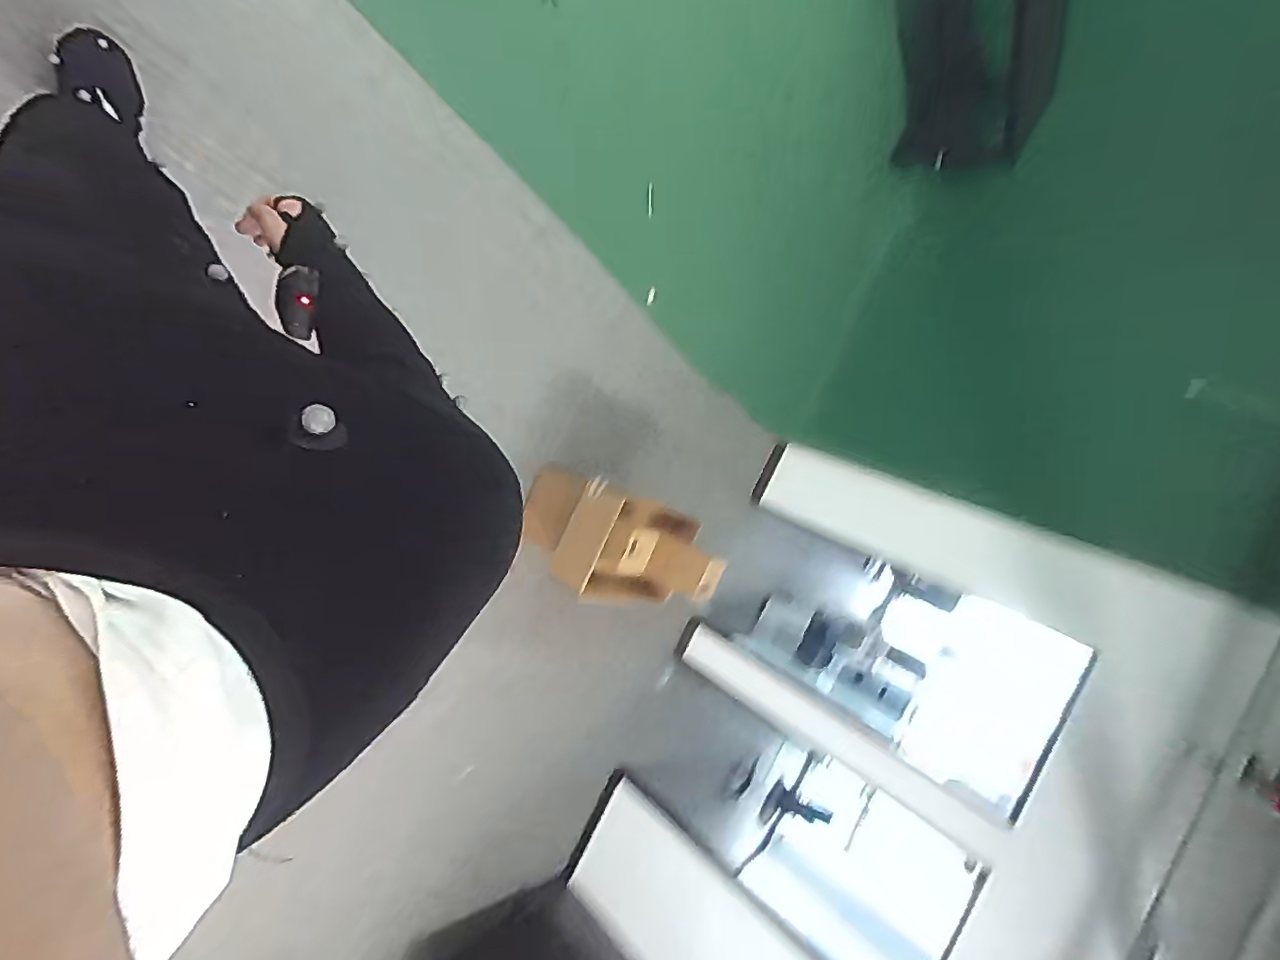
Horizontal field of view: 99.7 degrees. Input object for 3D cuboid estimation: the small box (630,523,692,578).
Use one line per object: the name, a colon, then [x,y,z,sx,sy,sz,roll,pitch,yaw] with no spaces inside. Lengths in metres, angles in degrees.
small box: [0.085,0.290,2.246,0.168,0.176,0.179,16,99,-56]
